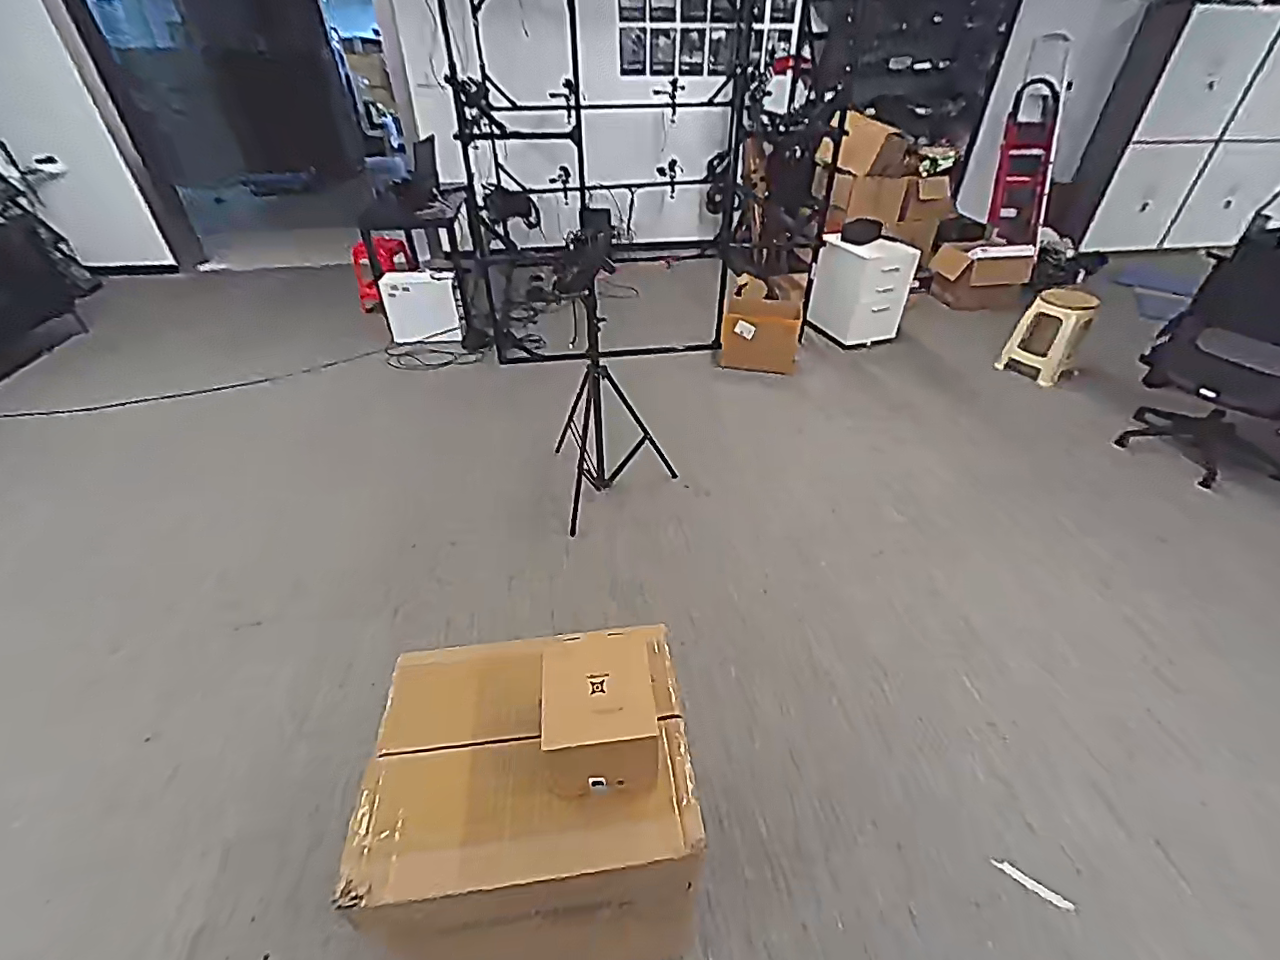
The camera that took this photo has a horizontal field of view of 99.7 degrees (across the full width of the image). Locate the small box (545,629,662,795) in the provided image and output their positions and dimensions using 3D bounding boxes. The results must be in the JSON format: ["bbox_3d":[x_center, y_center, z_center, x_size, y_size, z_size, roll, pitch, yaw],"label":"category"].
[{"bbox_3d":[-0.059,0.368,0.862,0.168,0.176,0.179,-7,40,-5],"label":"small box"}]
